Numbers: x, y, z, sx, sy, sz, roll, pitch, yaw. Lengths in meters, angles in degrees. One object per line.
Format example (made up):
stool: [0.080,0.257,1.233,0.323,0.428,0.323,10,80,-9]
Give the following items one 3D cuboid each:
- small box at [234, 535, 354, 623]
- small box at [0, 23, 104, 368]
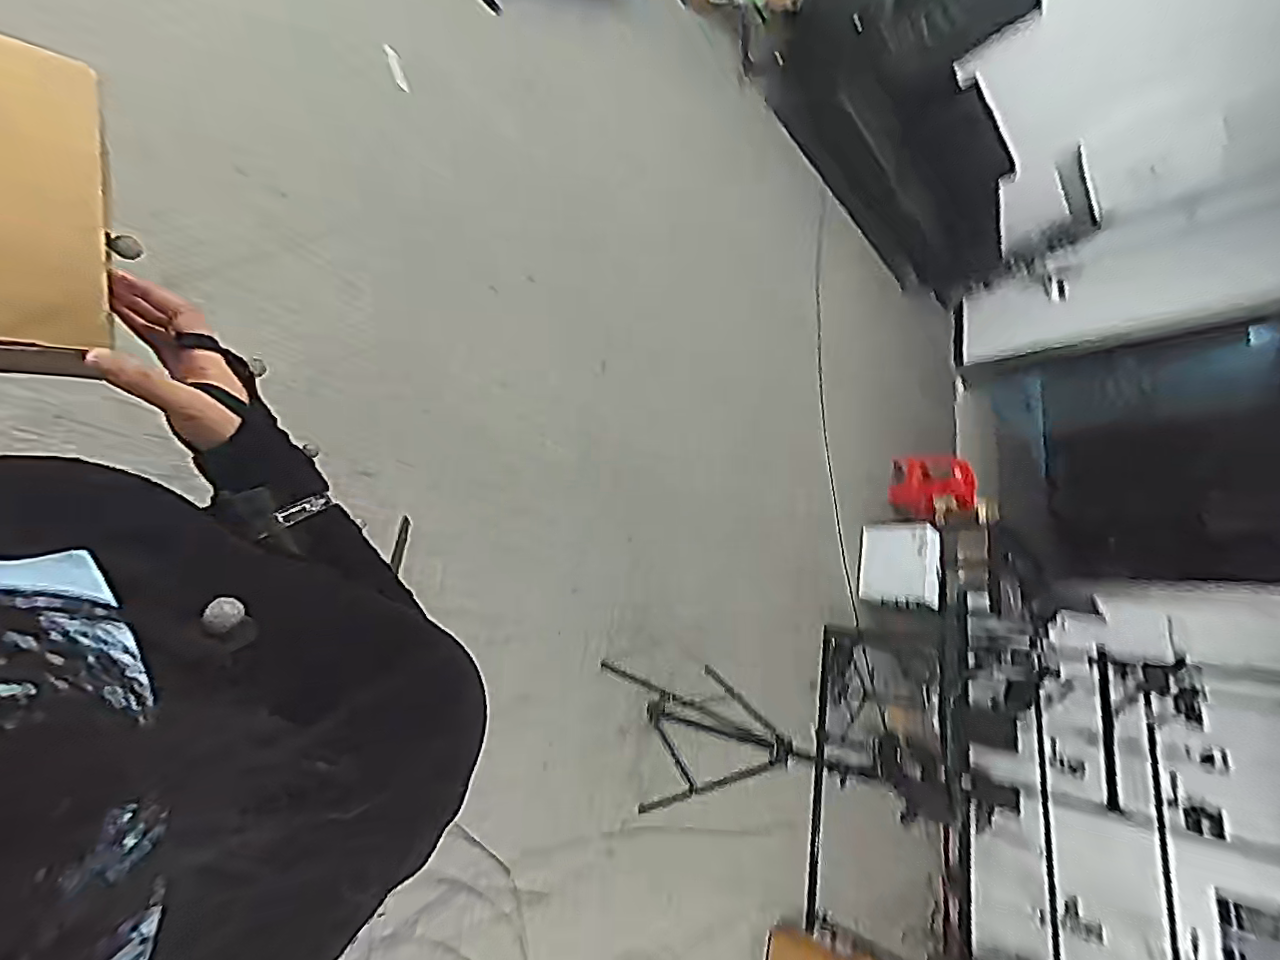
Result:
small box: [-0.798,0.229,1.243,0.179,0.176,0.168,23,69,-41]
small box: [-0.448,-0.170,0.328,0.168,0.176,0.179,-5,97,-44]
